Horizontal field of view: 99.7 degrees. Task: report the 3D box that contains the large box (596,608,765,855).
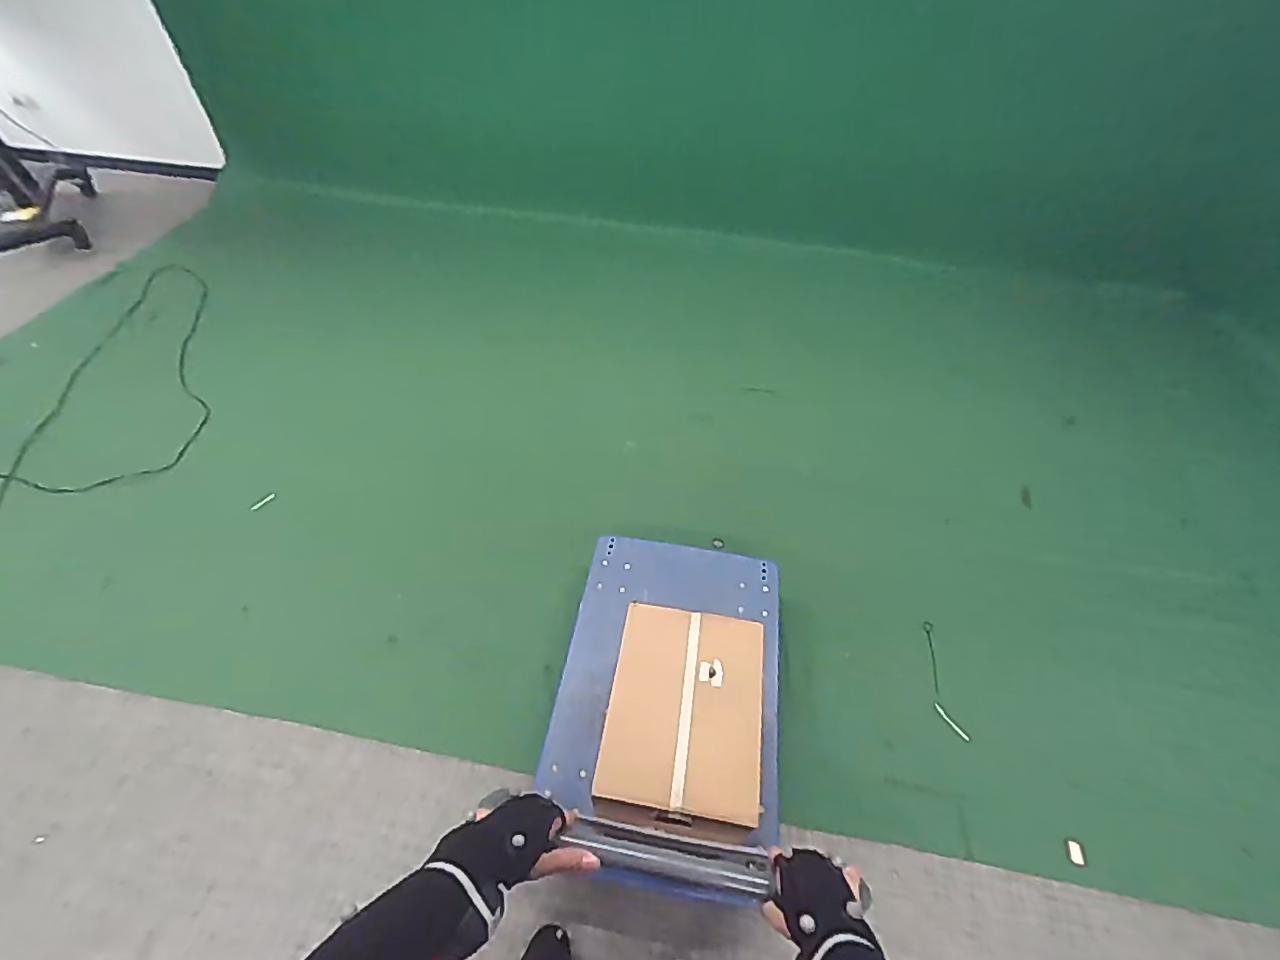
[{"bbox_3d":[0.095,0.559,1.211,0.320,0.320,0.408,9,49,4],"label":"large box"}]
